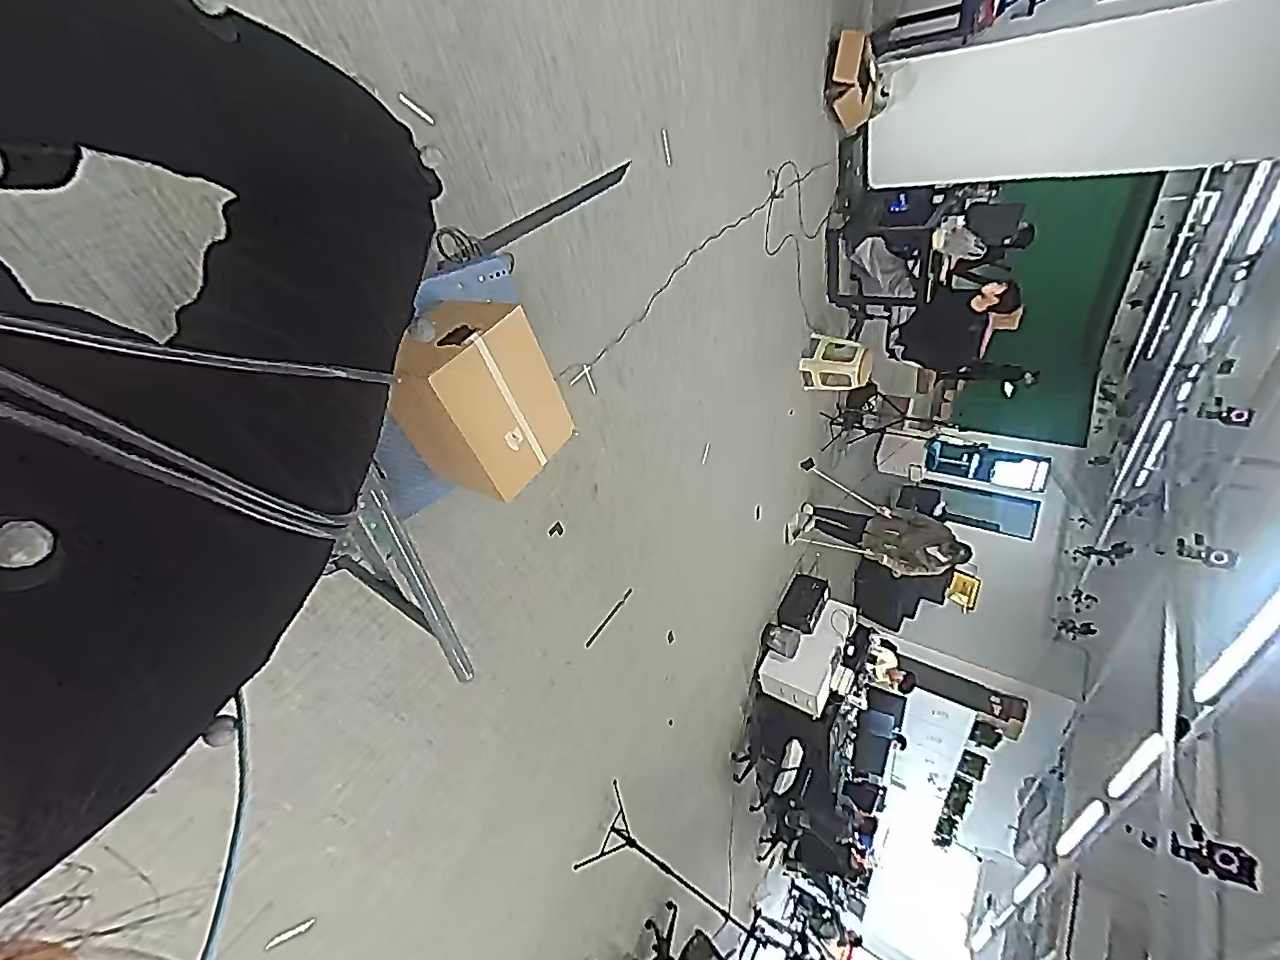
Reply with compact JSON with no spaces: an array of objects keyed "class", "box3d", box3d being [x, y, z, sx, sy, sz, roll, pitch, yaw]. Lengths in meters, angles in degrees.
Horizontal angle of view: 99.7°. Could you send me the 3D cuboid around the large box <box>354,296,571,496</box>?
[{"class":"large box","box3d":[-0.449,-0.228,1.433,0.320,0.320,0.408,-51,141,-30]}]
